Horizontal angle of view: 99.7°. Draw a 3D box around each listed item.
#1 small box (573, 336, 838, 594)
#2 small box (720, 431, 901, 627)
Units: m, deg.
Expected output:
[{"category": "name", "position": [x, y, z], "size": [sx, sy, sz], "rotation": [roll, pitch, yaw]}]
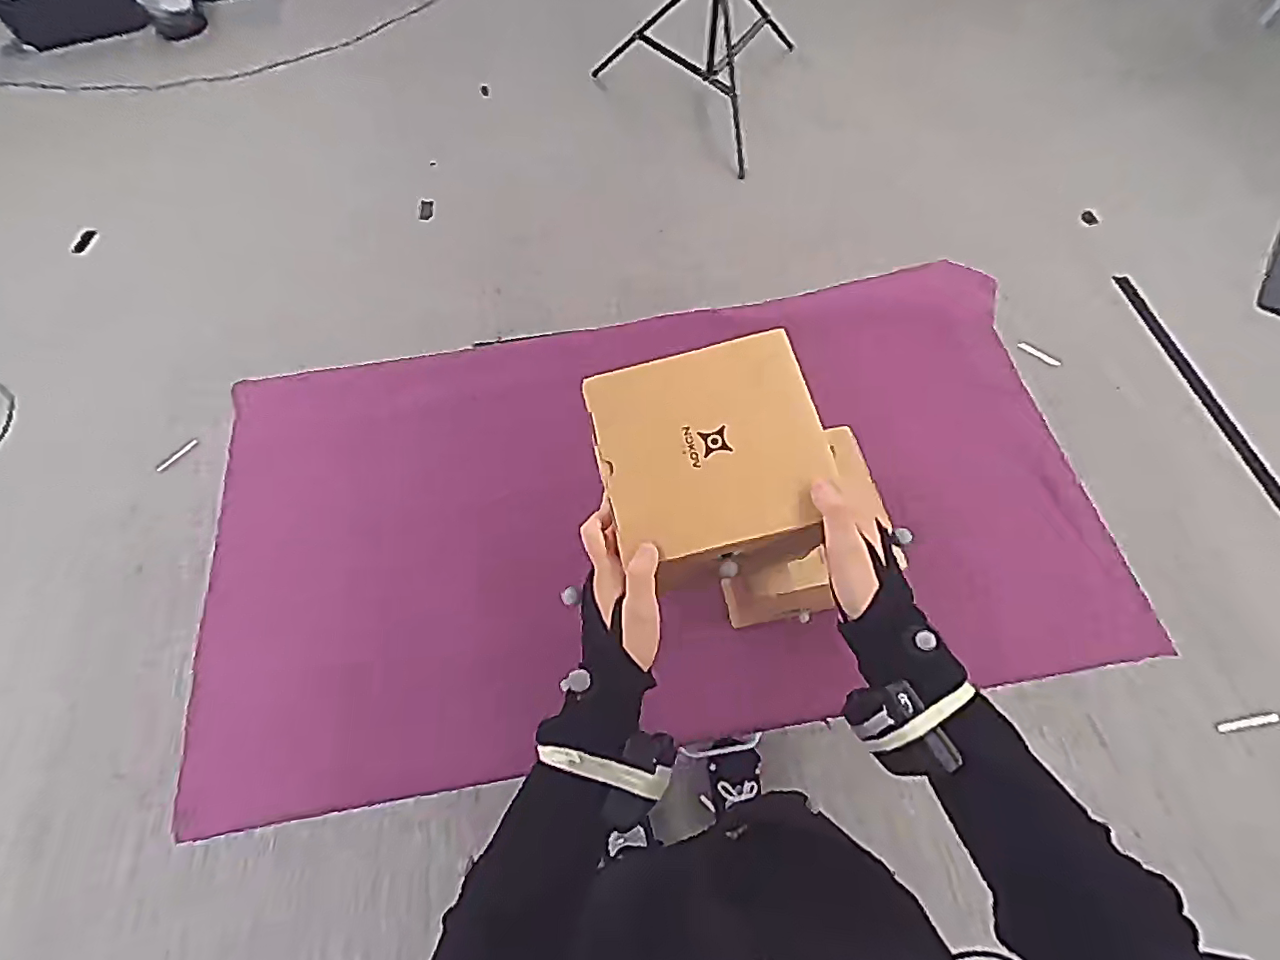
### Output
[{"category": "small box", "position": [0.052, 0.000, 0.497], "size": [0.179, 0.176, 0.168], "rotation": [-15, 71, 1]}, {"category": "small box", "position": [0.178, 0.066, 0.661], "size": [0.168, 0.176, 0.179], "rotation": [-11, 65, -2]}]
